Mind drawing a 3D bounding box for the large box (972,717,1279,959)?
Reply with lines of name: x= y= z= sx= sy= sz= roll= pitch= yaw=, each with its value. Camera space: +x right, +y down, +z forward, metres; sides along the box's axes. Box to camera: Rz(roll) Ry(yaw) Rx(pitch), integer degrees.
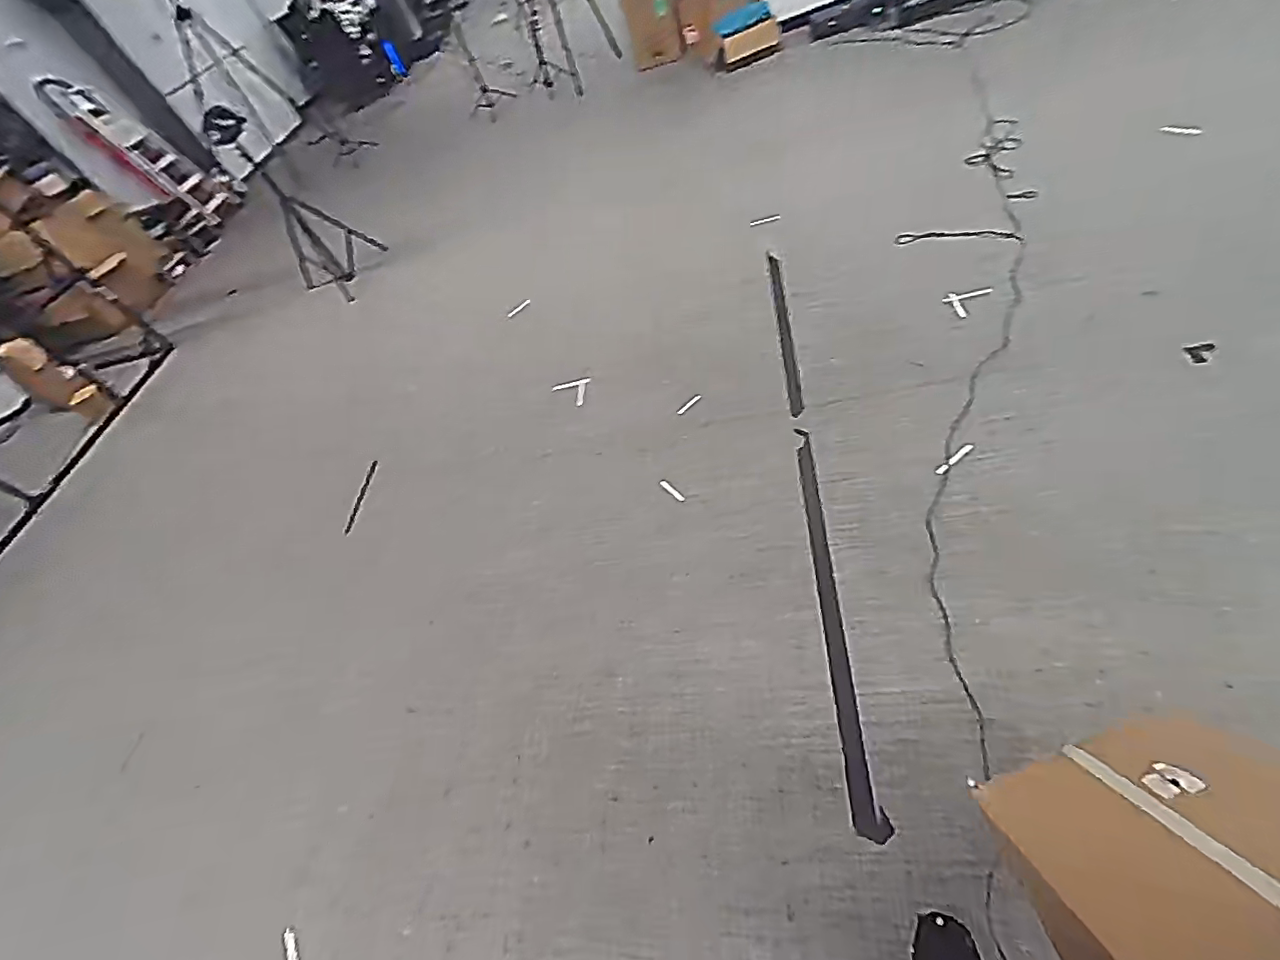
large box: x=0.686 y=0.543 z=0.602 sx=0.320 sy=0.408 sz=0.320 roll=-26 pitch=85 yaw=5
